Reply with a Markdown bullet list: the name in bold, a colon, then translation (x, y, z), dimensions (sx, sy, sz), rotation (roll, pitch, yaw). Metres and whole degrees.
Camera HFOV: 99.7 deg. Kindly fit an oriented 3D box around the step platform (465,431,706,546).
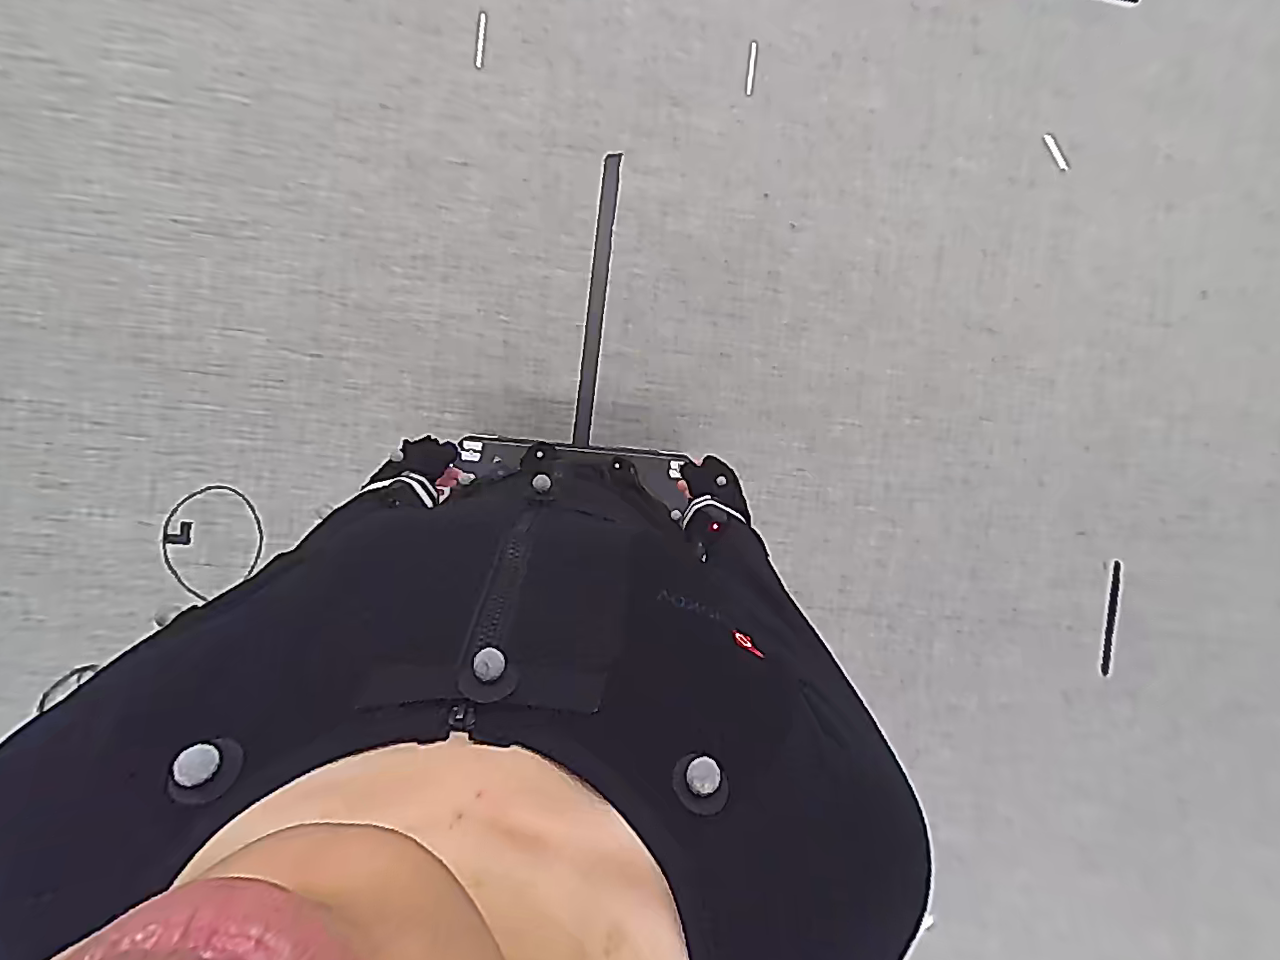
- **step platform**: translation (-0.151, 0.024, 1.571), dimensions (0.684, 0.204, 0.286), rotation (4, 93, -6)
